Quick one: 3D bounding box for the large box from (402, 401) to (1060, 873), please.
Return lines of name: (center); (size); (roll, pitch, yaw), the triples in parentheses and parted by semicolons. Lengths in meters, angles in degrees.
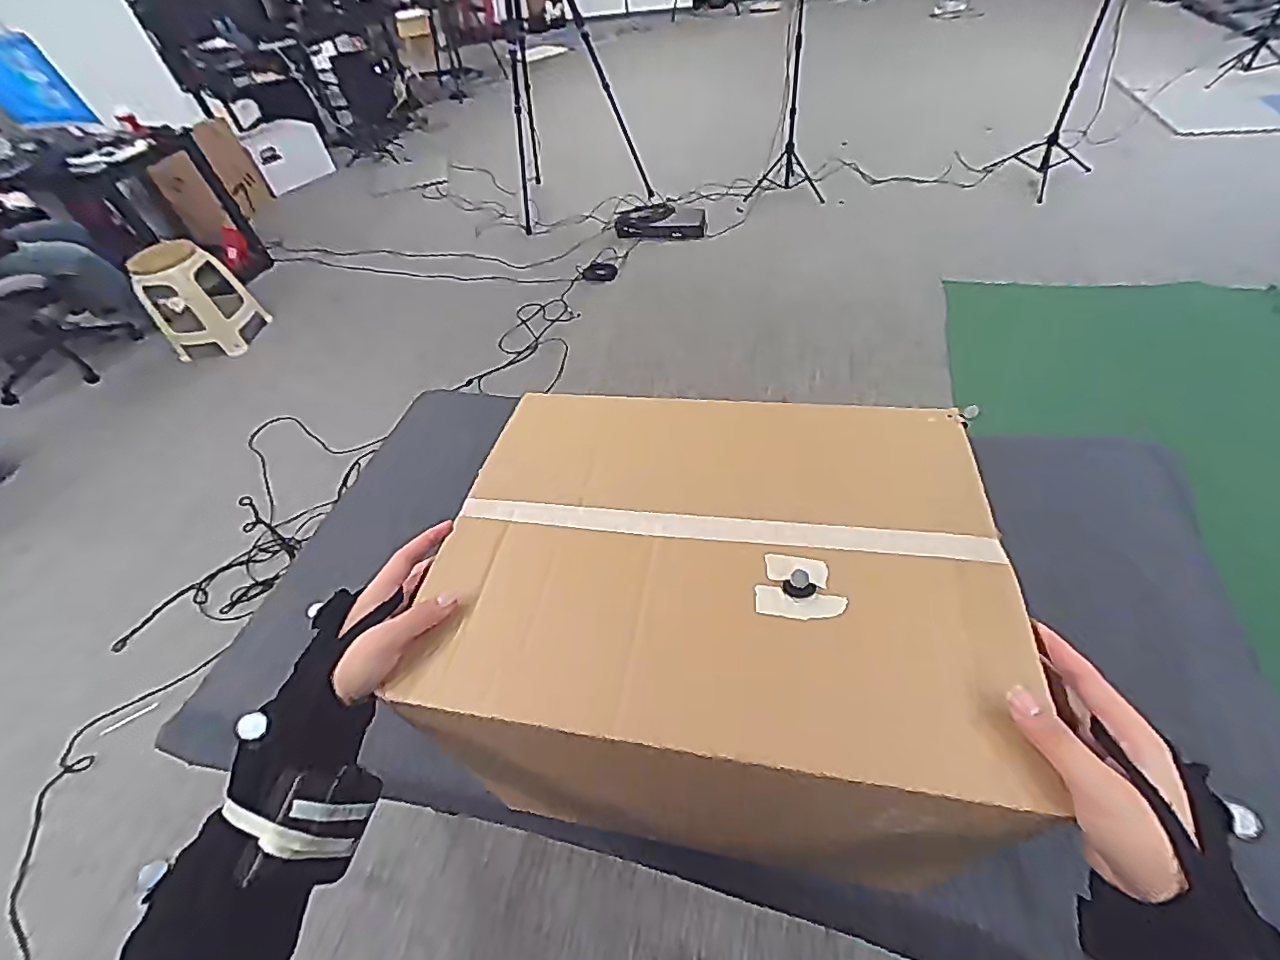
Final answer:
large box: (0.071, 0.142, 0.530); (0.408, 0.320, 0.320); (5, 49, 11)
